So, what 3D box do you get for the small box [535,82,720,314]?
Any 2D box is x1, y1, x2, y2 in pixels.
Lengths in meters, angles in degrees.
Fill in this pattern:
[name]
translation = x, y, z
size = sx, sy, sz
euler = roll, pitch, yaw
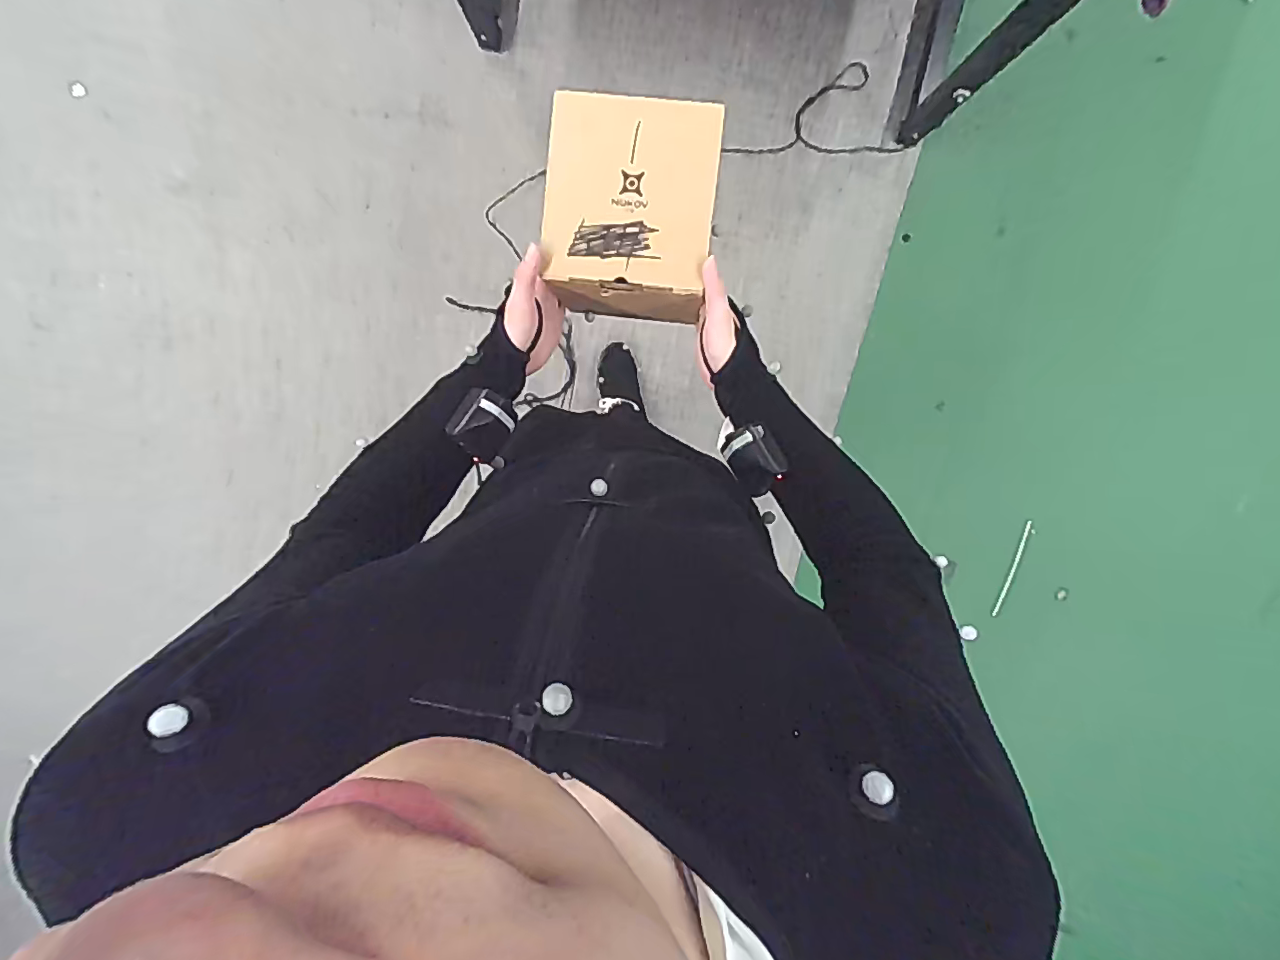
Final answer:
[small box]
translation = -0.008, -0.289, 0.594
size = 0.168, 0.176, 0.179
euler = 6, 96, 3
